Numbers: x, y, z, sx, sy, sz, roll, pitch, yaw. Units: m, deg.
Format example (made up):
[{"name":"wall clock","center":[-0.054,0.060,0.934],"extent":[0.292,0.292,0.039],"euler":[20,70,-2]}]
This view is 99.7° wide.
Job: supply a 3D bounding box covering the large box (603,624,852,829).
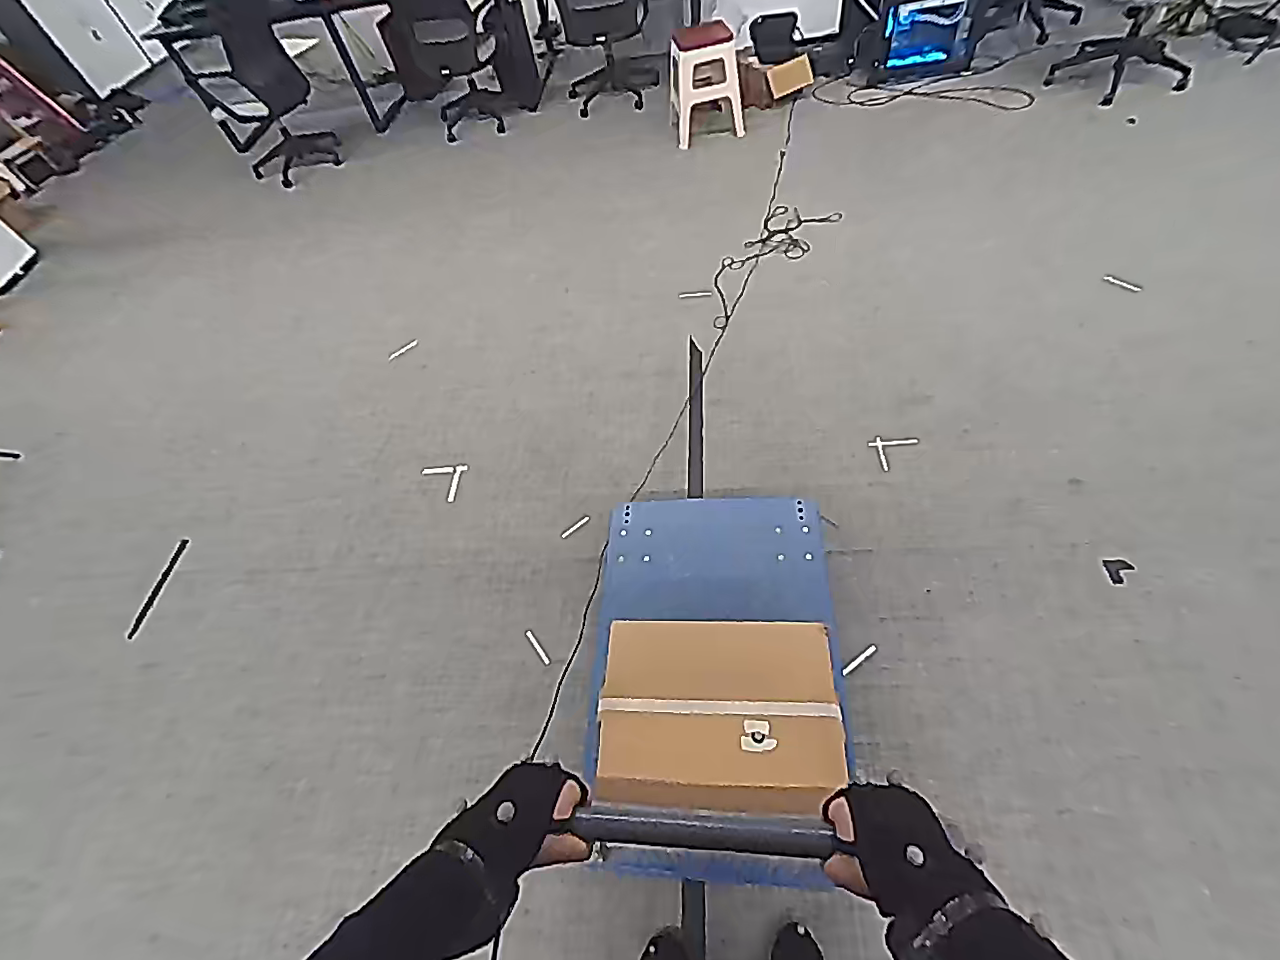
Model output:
[{"name":"large box","center":[0.158,0.490,1.067],"extent":[0.408,0.320,0.320],"euler":[-2,54,8]}]
